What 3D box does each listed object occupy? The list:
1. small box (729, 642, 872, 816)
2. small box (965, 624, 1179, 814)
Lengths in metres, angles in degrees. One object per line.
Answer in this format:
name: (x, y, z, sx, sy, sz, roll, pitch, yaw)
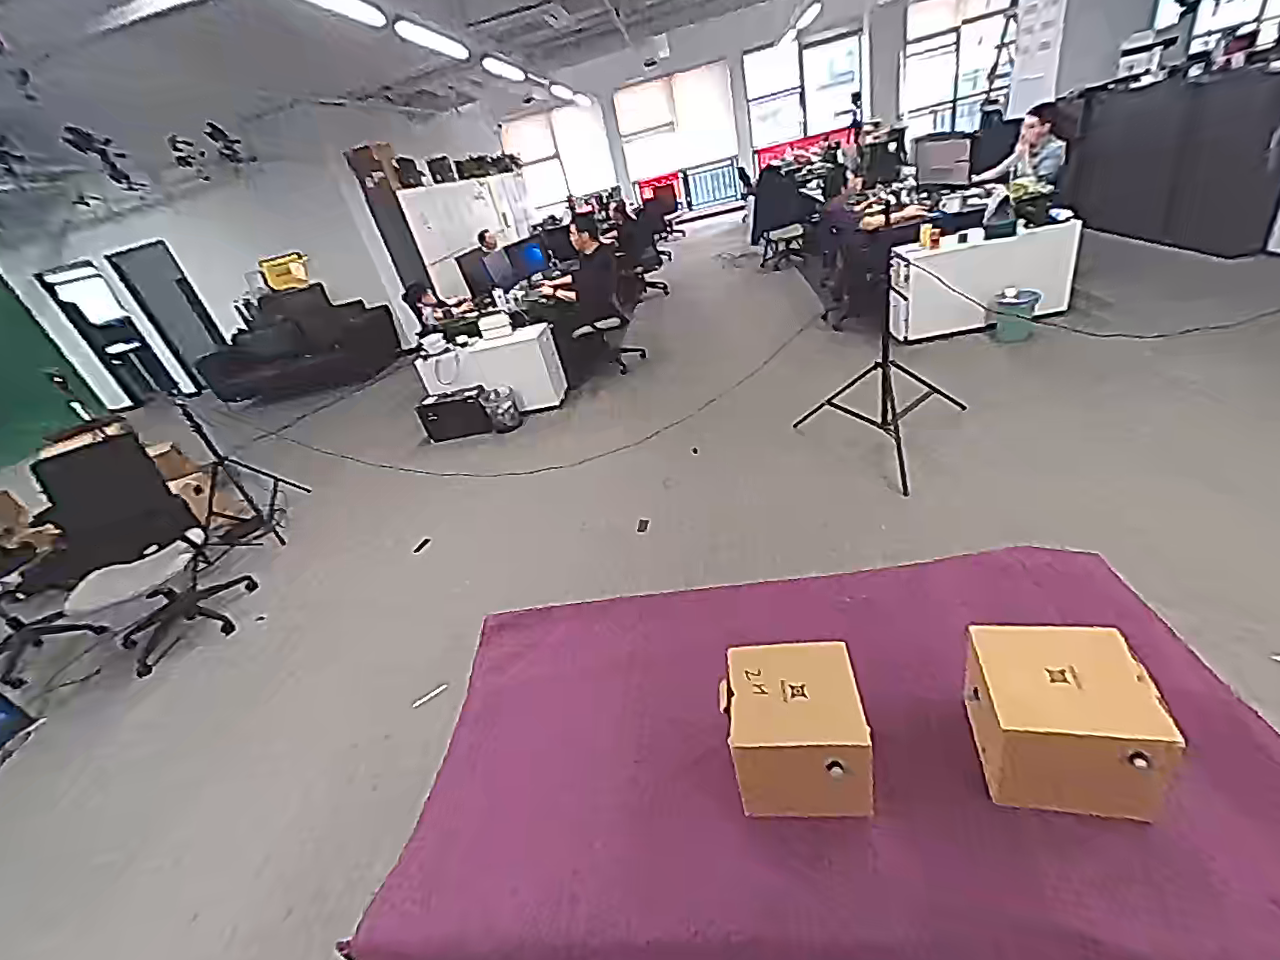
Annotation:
small box: (0.228, 0.361, 0.787, 0.179, 0.176, 0.168, -8, 30, 12)
small box: (0.548, 0.313, 0.719, 0.179, 0.176, 0.168, -4, 32, 19)
